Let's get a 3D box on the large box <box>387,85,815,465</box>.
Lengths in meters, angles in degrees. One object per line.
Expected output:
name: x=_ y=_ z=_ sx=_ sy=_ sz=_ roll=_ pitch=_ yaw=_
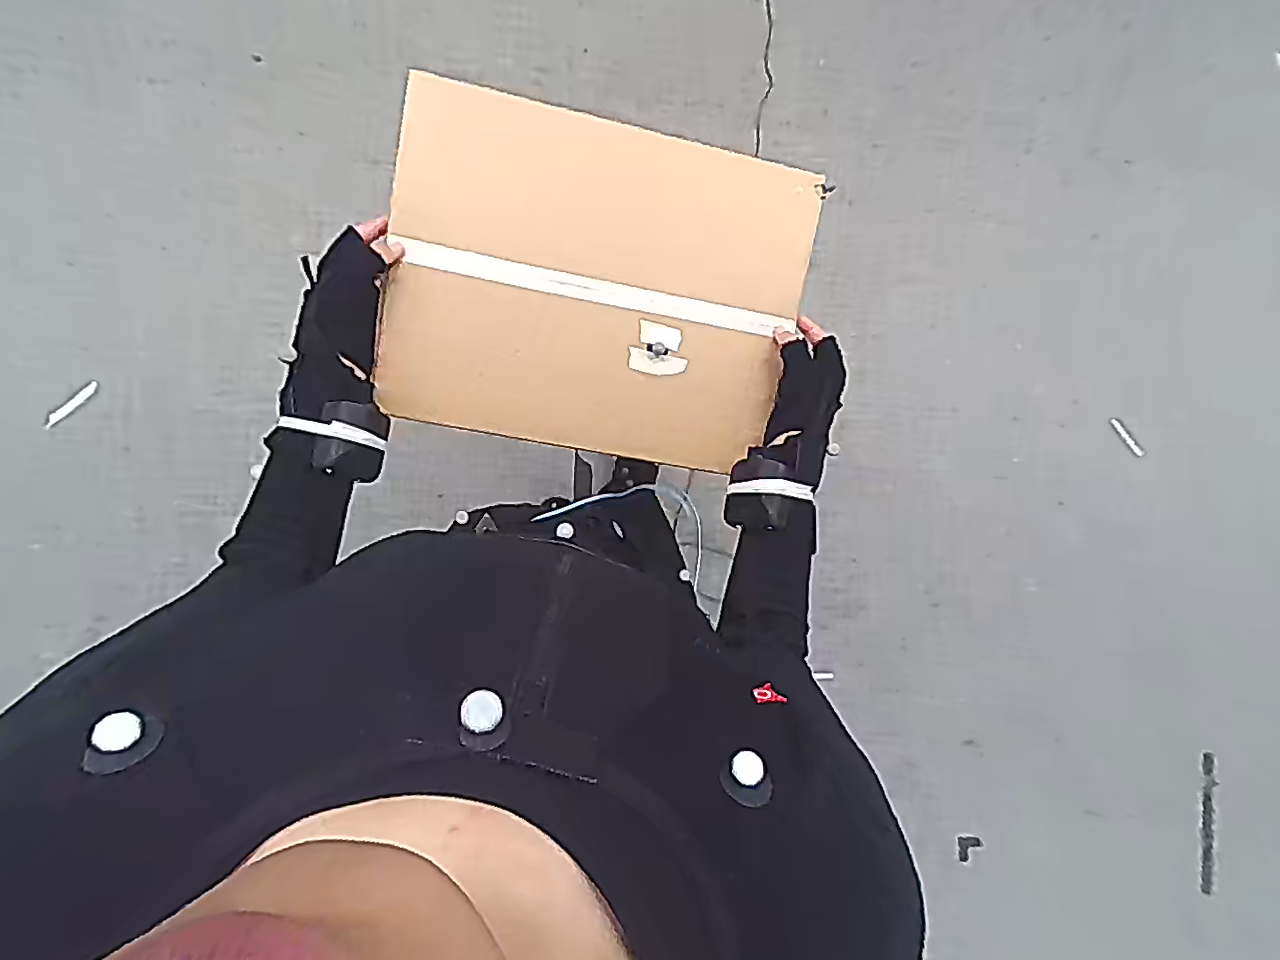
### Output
large box: x=-0.055 y=-0.214 z=0.697 sx=0.408 sy=0.320 sz=0.320 roll=10 pitch=97 yaw=-8
